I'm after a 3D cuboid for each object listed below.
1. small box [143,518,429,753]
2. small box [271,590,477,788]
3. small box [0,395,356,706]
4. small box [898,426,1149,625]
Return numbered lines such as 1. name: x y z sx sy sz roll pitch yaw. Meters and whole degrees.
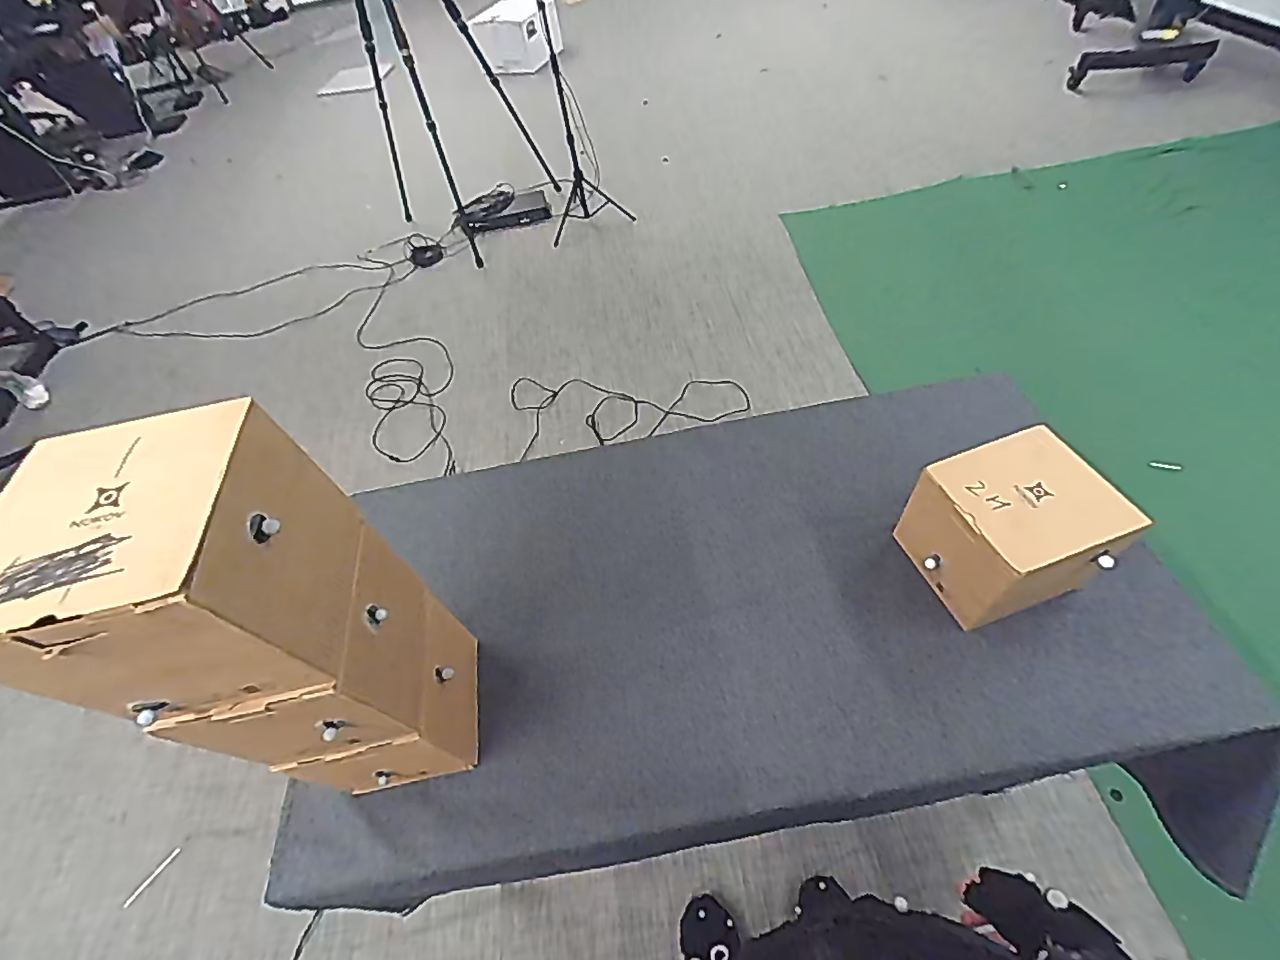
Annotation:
1. small box: -0.334 0.168 0.557 0.168 0.176 0.179 -11 53 -1
2. small box: -0.316 0.267 0.684 0.168 0.176 0.179 -12 53 -1
3. small box: -0.354 0.065 0.430 0.168 0.176 0.179 -12 53 -2
4. small box: 0.474 0.063 0.705 0.179 0.176 0.168 -19 53 -5
